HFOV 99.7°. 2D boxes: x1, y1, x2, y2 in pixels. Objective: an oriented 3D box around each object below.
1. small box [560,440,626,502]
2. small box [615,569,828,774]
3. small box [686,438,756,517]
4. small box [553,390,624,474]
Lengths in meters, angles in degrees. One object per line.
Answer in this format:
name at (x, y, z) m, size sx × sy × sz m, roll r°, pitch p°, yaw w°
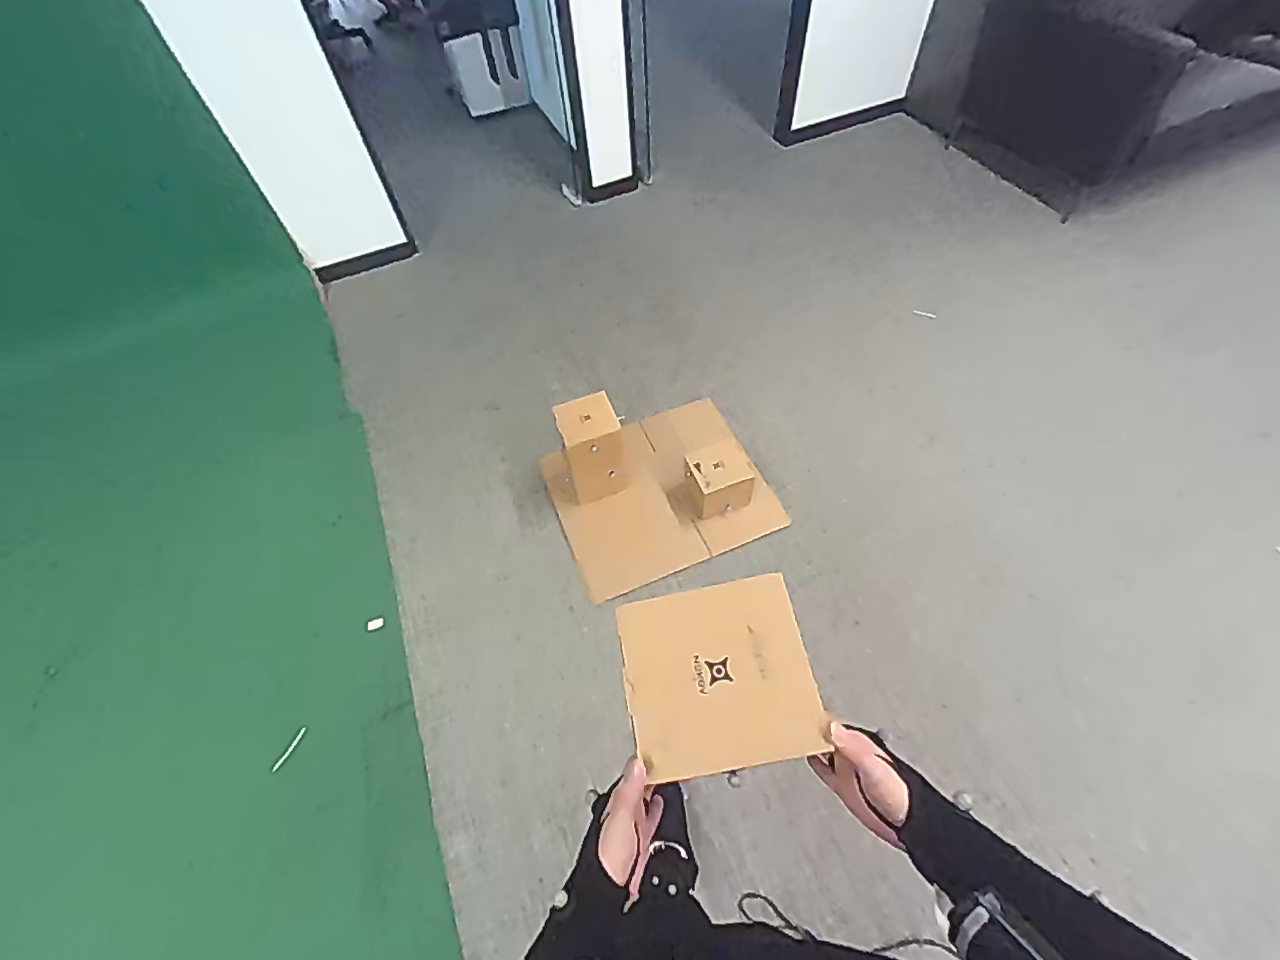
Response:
small box at (-0.151, -0.055, 1.813) m, size 0.179 × 0.176 × 0.168 m, roll -19°, pitch 58°, yaw -9°
small box at (0.082, 0.212, 0.582) m, size 0.179 × 0.176 × 0.168 m, roll -12°, pitch 63°, yaw 4°
small box at (0.256, -0.006, 1.759) m, size 0.179 × 0.176 × 0.168 m, roll -18°, pitch 57°, yaw -8°
small box at (-0.154, -0.145, 1.679) m, size 0.179 × 0.176 × 0.168 m, roll -20°, pitch 59°, yaw -8°
